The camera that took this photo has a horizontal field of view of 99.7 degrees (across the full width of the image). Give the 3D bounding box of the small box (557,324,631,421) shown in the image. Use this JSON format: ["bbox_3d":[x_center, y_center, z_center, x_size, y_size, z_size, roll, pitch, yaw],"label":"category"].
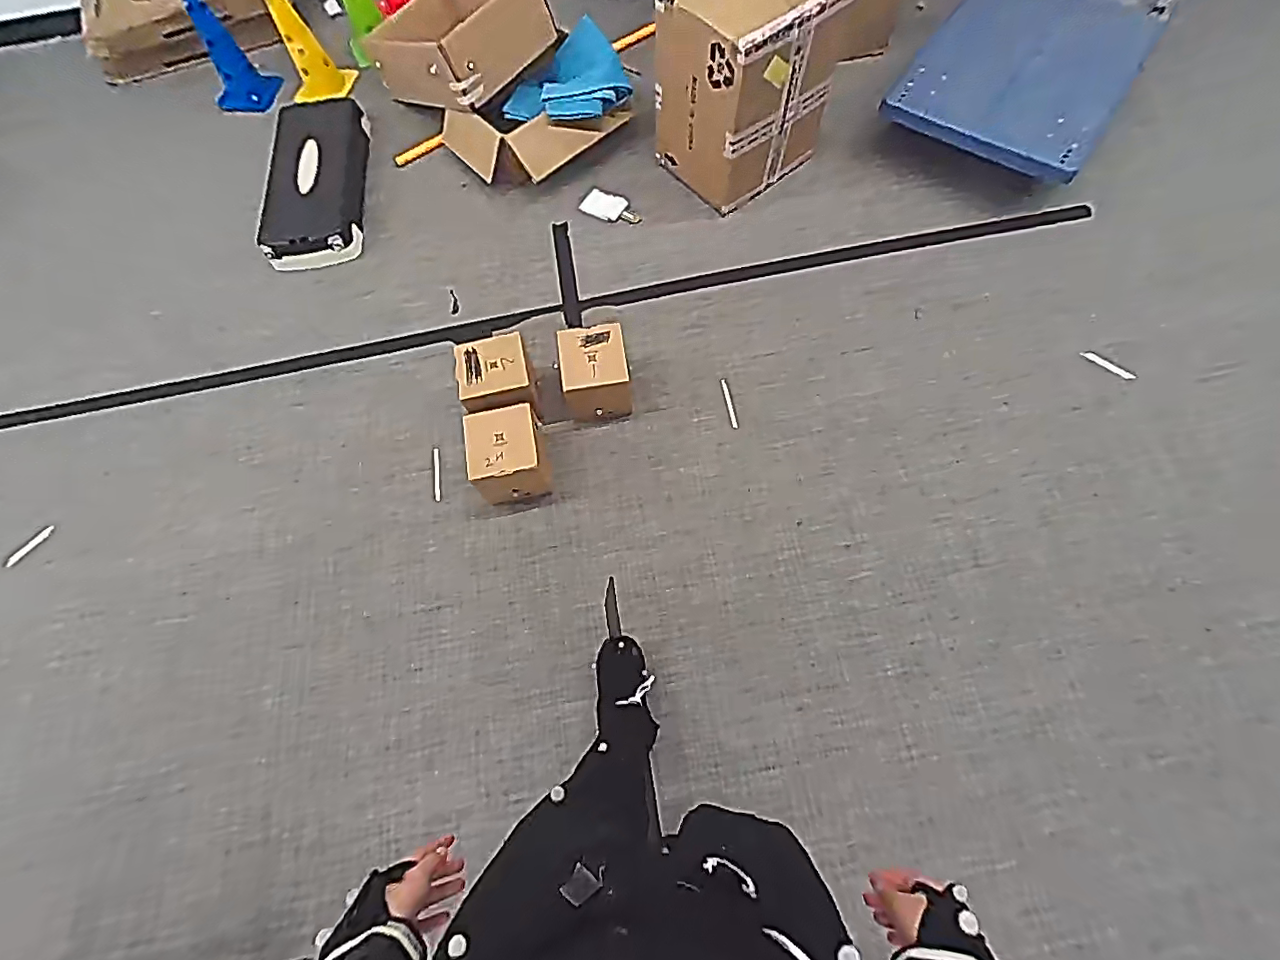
[{"bbox_3d":[-0.117,-0.277,1.415,0.168,0.176,0.179,-9,69,0],"label":"small box"}]

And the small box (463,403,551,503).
[{"bbox_3d":[-0.326,-0.063,1.340,0.168,0.176,0.179,-12,69,-1],"label":"small box"}]
